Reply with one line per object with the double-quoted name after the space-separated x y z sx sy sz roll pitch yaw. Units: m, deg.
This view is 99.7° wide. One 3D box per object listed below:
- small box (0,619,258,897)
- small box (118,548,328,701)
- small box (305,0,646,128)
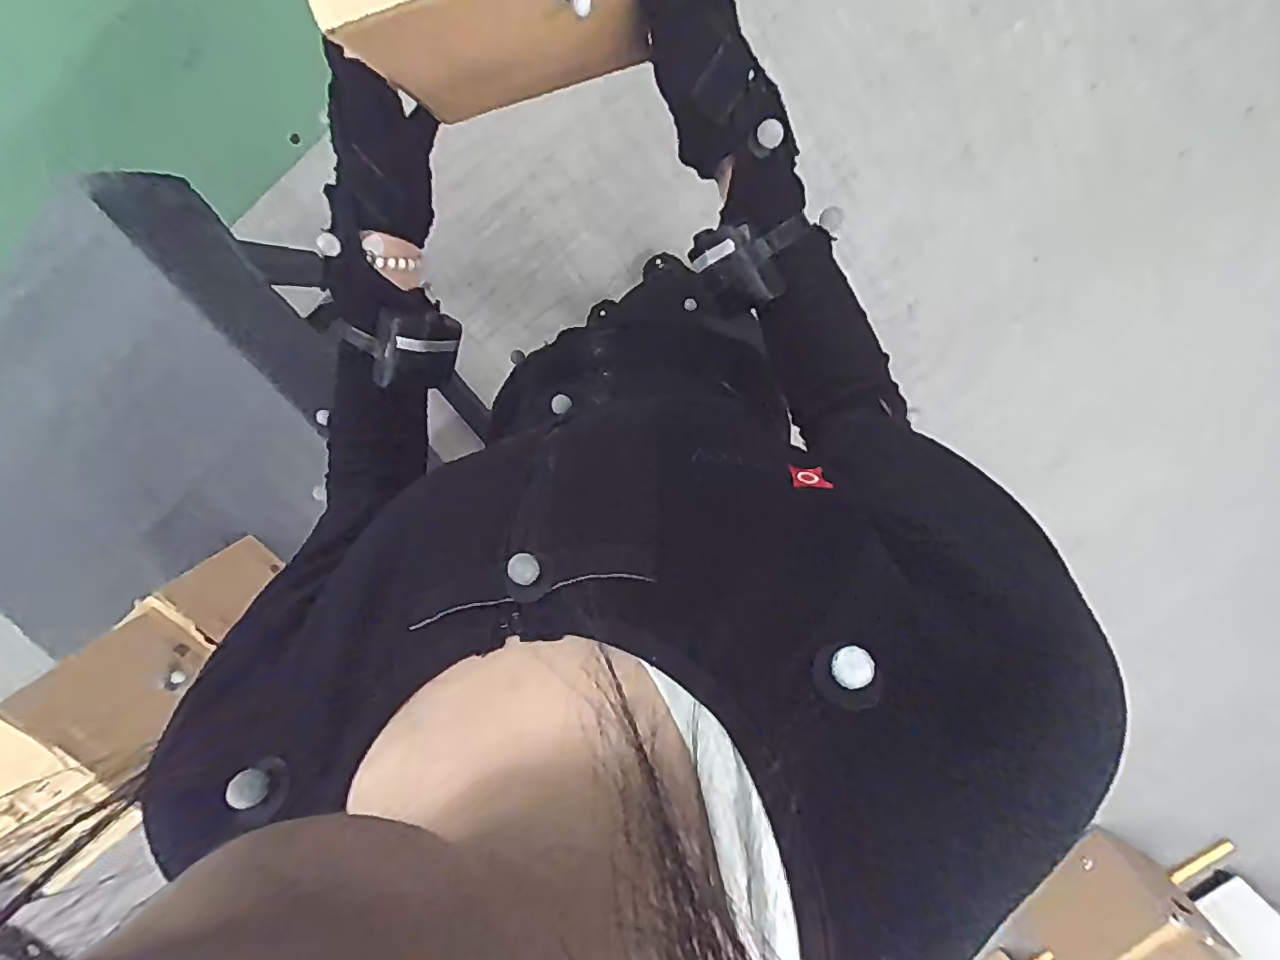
-0.579 0.292 0.594 0.179 0.176 0.168 -39 104 12 "small box"
-0.573 0.223 0.744 0.179 0.176 0.168 -37 103 13 "small box"
-0.100 -0.345 0.326 0.179 0.176 0.168 -14 107 6 "small box"
